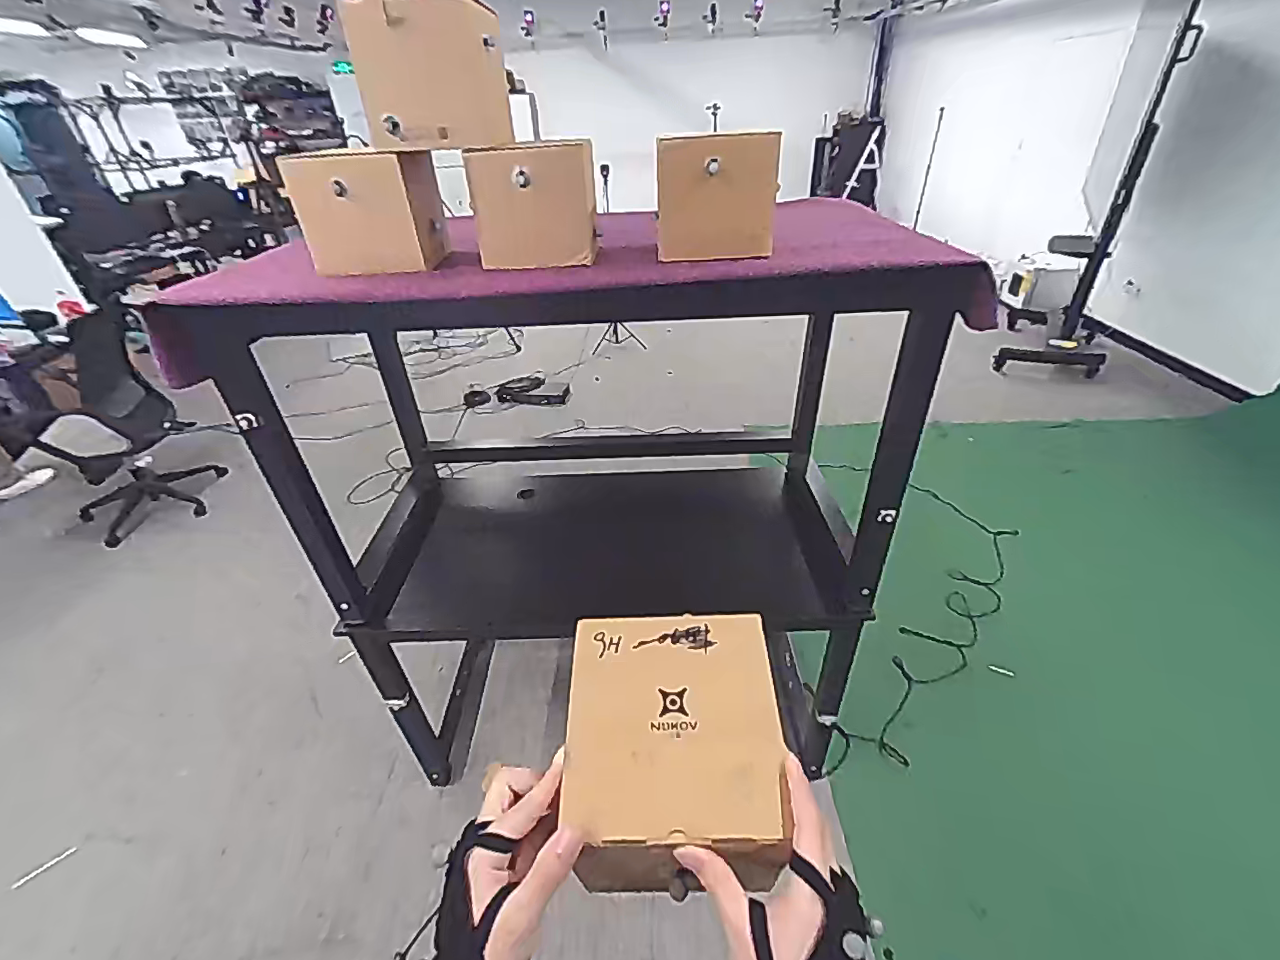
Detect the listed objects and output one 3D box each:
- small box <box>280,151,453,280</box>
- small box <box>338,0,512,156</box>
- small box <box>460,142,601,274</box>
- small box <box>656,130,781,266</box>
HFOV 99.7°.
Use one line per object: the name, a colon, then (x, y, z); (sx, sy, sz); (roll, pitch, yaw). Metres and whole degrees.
small box: (-0.430, -0.433, 0.885); (0.179, 0.176, 0.168); (-3, 36, 0)
small box: (-0.295, -0.576, 0.791); (0.168, 0.176, 0.179); (0, 34, 3)
small box: (-0.162, -0.437, 0.868); (0.179, 0.176, 0.168); (-2, 35, 2)
small box: (0.116, -0.450, 0.862); (0.179, 0.176, 0.168); (-3, 34, 3)
